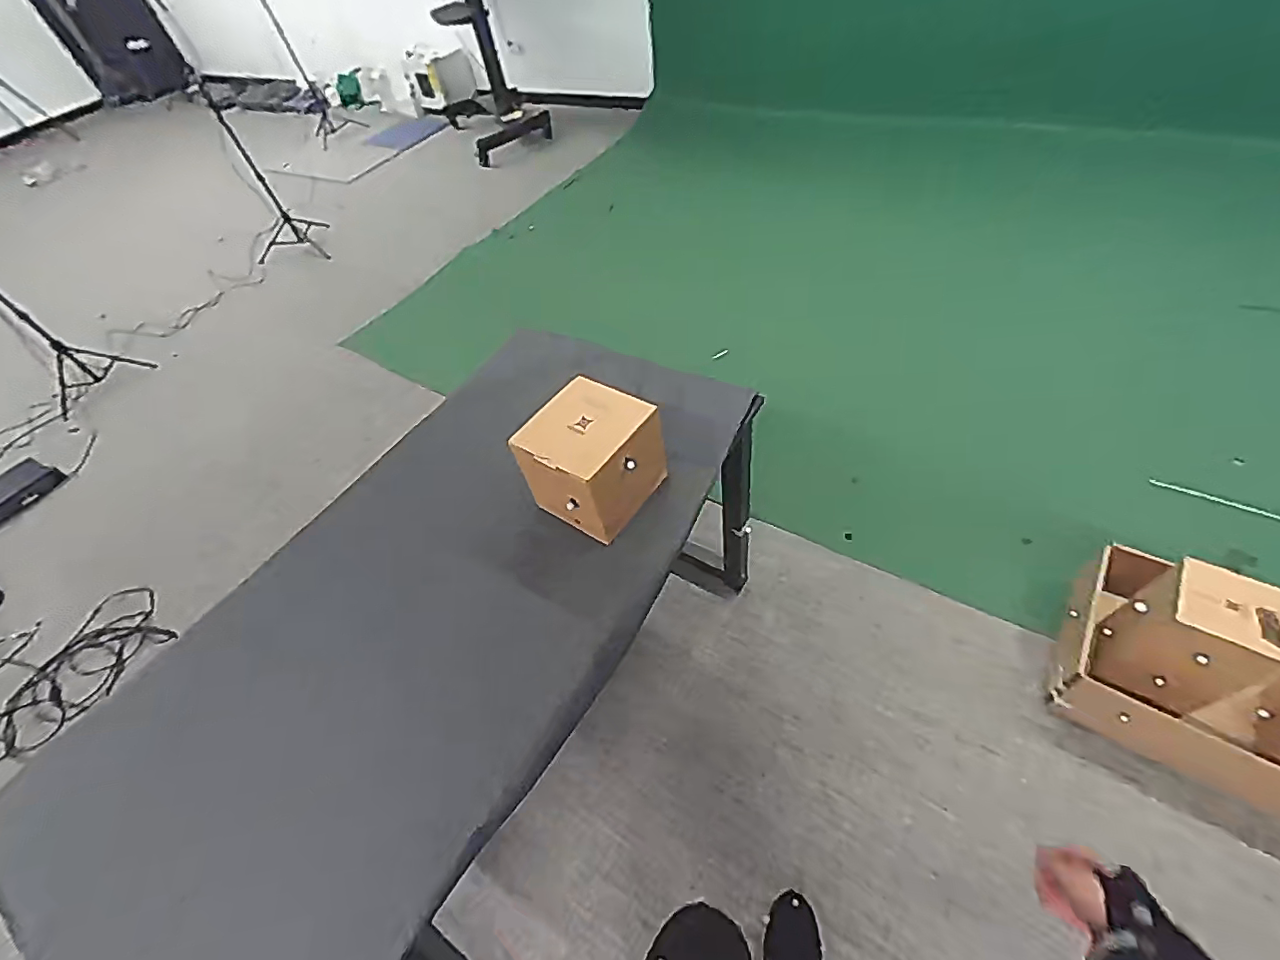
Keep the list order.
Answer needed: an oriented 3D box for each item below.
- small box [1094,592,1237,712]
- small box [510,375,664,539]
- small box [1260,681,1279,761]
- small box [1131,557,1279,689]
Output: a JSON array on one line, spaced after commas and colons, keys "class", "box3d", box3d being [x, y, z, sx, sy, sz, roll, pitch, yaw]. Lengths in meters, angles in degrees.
[{"class": "small box", "box3d": [1.163, 0.387, 1.203, 0.179, 0.176, 0.168, 25, 61, 25]}, {"class": "small box", "box3d": [-0.074, -0.034, 0.879, 0.168, 0.176, 0.179, 26, 59, 27]}, {"class": "small box", "box3d": [1.401, 0.502, 1.073, 0.168, 0.176, 0.179, 26, 61, 27]}, {"class": "small box", "box3d": [1.139, 0.289, 1.073, 0.179, 0.176, 0.168, 25, 60, 26]}]
